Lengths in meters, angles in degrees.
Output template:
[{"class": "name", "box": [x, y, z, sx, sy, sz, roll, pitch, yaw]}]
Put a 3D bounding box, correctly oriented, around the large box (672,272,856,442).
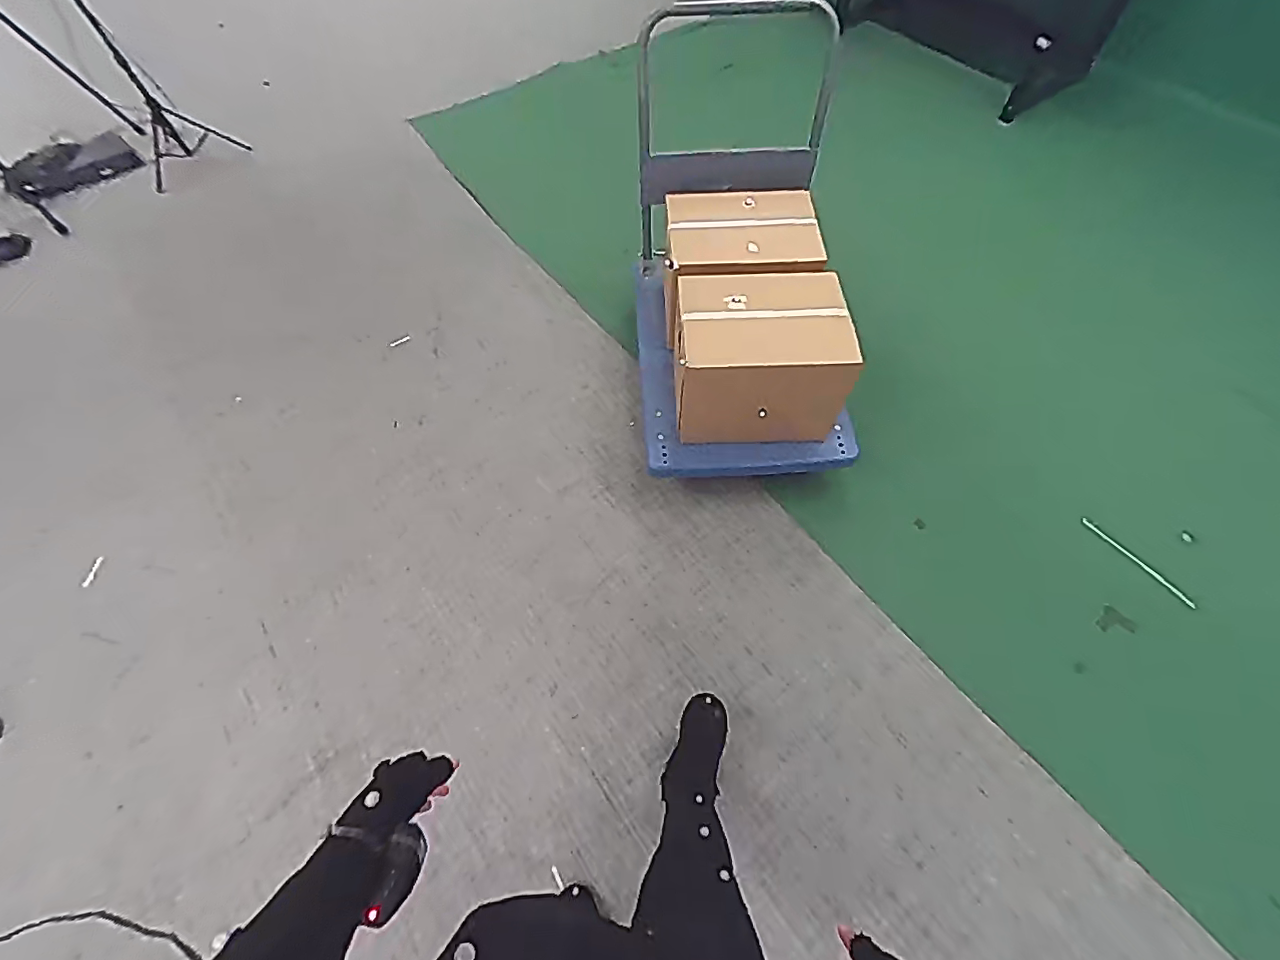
[{"class": "large box", "box": [0.293, -0.311, 1.419, 0.408, 0.320, 0.320, -1, 59, 1]}]
